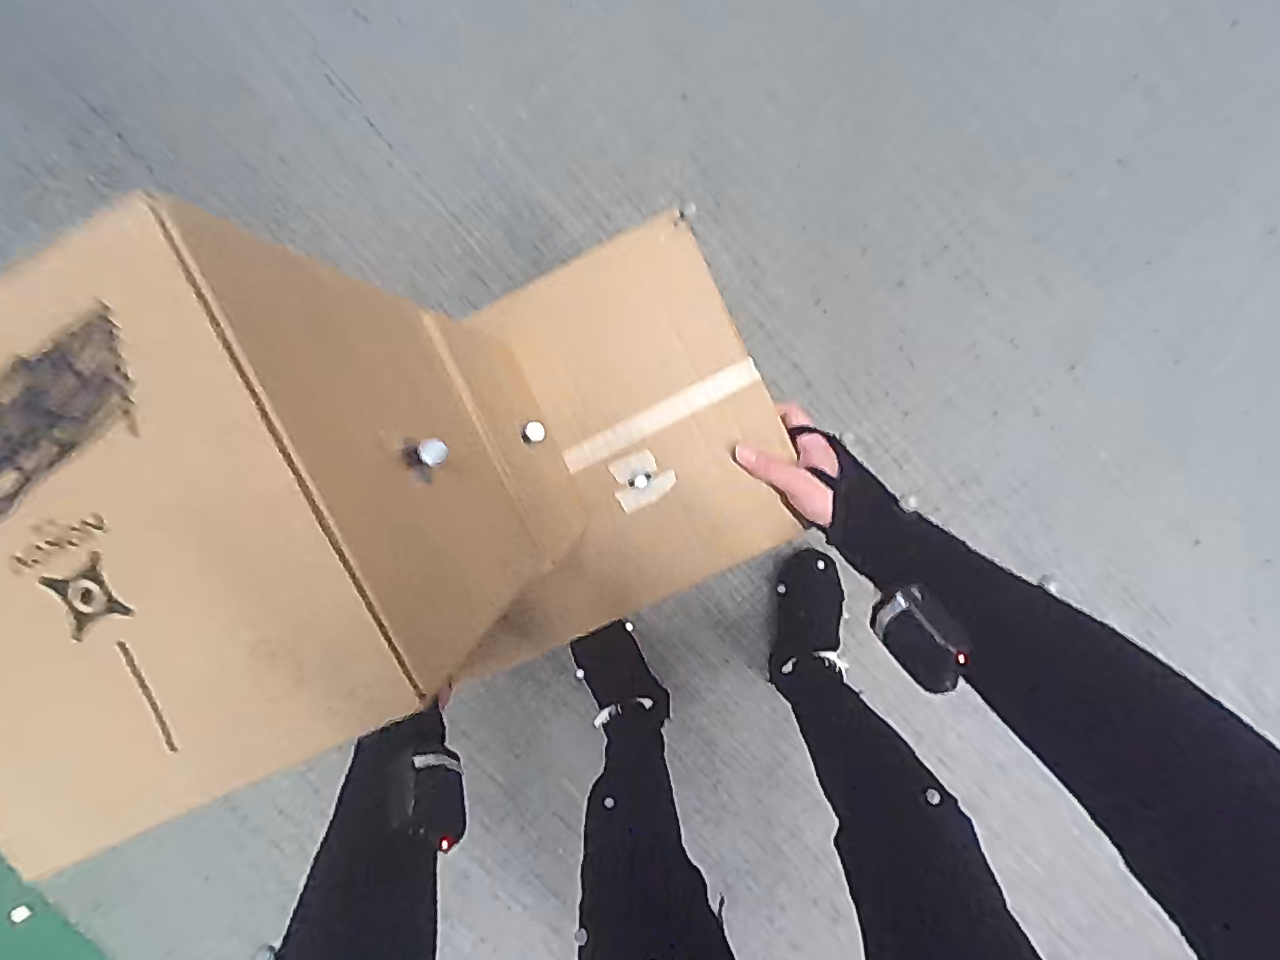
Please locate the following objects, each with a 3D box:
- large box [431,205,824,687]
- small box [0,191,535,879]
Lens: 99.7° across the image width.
[{"bbox_3d":[-0.067,-0.033,0.649,0.408,0.320,0.320,-26,96,5],"label":"large box"},{"bbox_3d":[-0.171,0.016,0.248,0.168,0.176,0.179,-25,96,6],"label":"small box"}]
